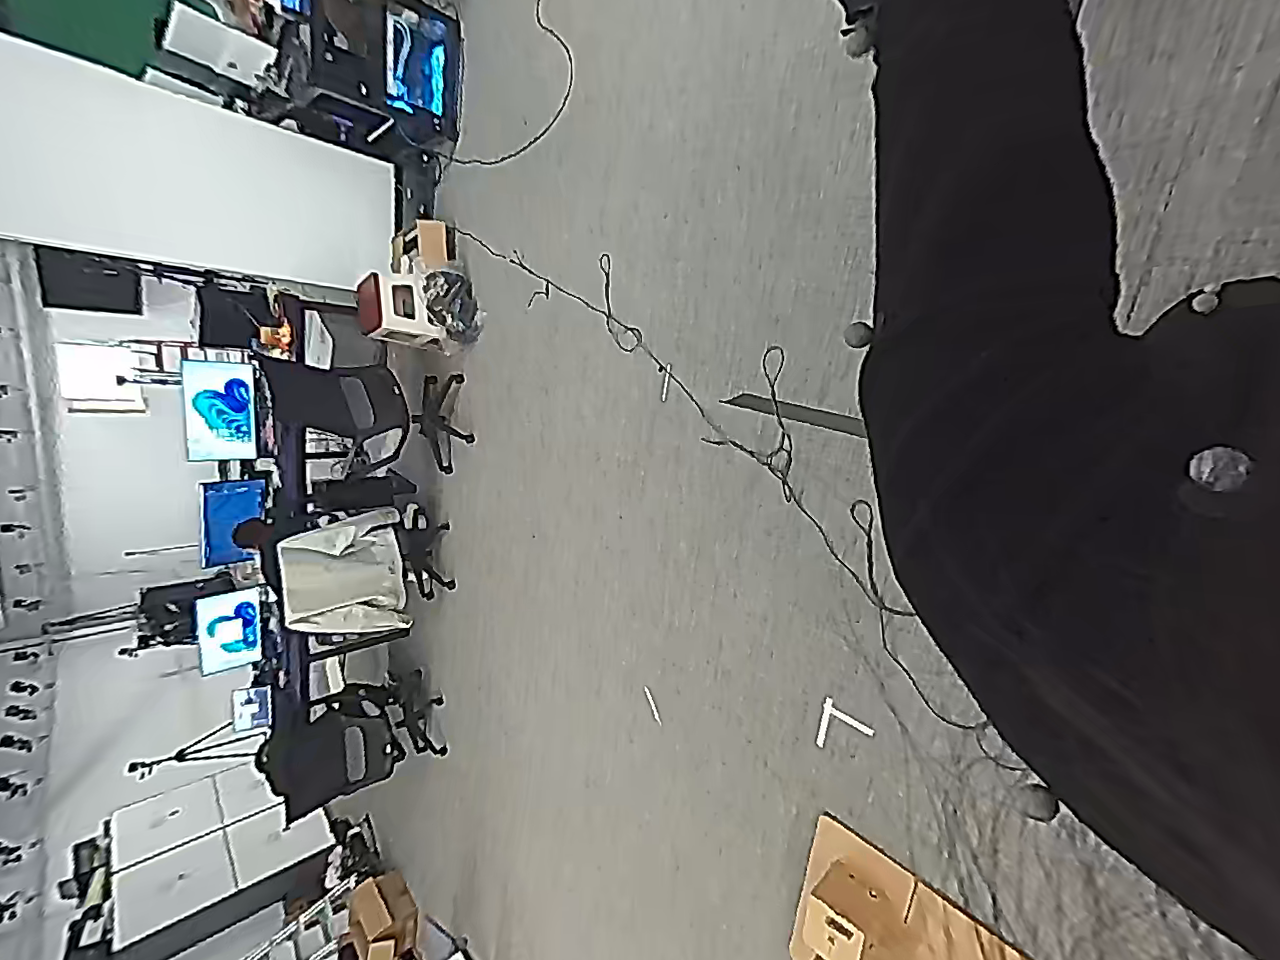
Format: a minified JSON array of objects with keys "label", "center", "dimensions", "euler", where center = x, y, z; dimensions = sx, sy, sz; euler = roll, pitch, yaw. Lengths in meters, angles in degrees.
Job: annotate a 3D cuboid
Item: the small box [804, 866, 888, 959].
[{"label":"small box","center":[0.606,1.292,1.583],"dimensions":[0.168,0.176,0.179],"euler":[15,106,44]}]
